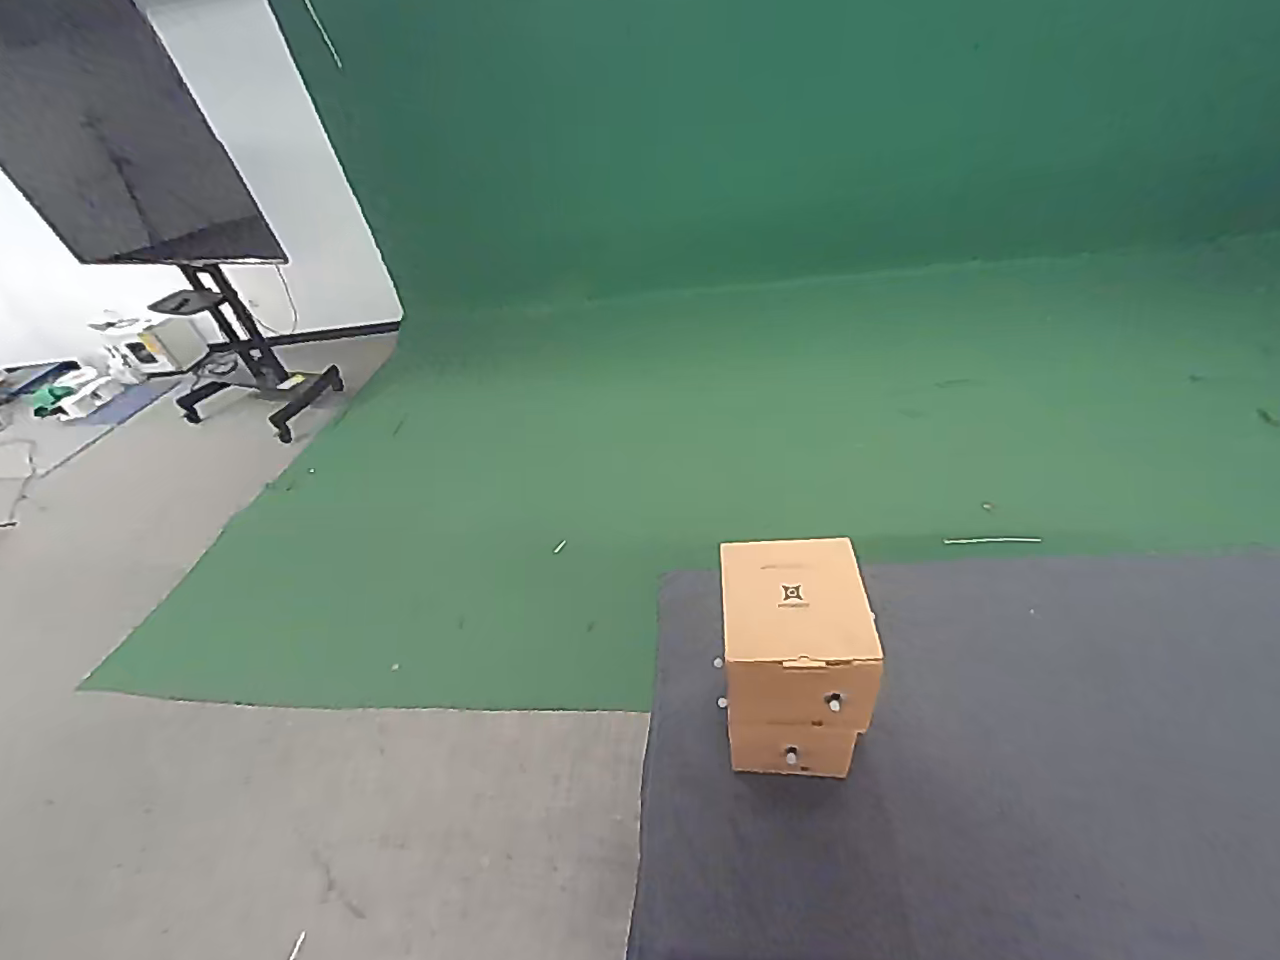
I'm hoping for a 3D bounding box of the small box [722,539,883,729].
[{"bbox_3d":[0.193,0.197,0.688,0.168,0.176,0.179,-3,40,8],"label":"small box"}]

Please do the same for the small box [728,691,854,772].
[{"bbox_3d":[0.217,0.311,0.803,0.168,0.176,0.179,-2,41,10],"label":"small box"}]
